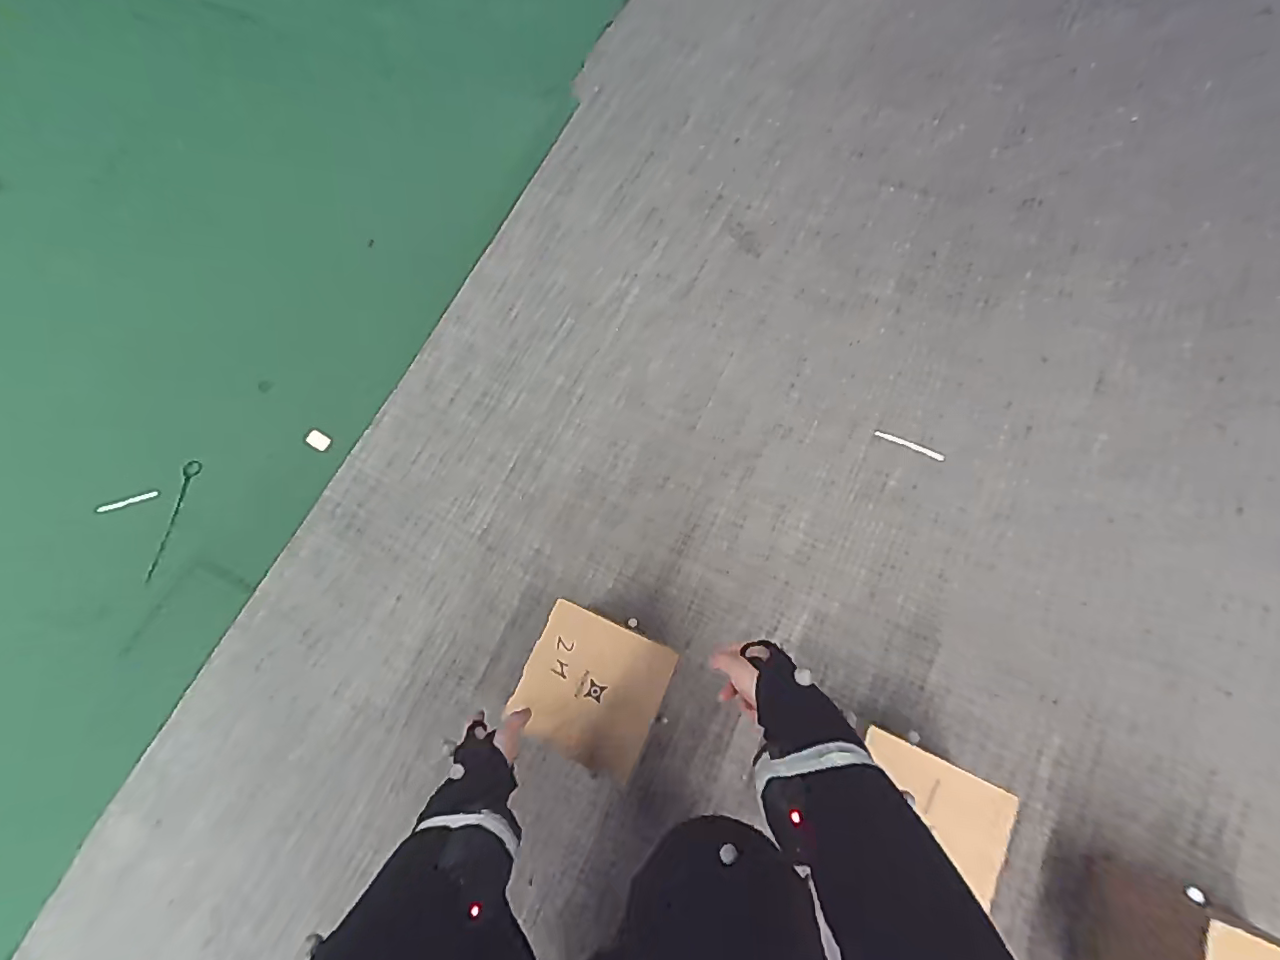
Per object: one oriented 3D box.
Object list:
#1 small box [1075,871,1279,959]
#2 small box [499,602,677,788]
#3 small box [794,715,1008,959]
[{"bbox_3d":[0.610,0.561,0.576,0.179,0.176,0.168,21,77,12],"label":"small box"},{"bbox_3d":[-0.057,0.283,0.747,0.179,0.176,0.168,23,76,13],"label":"small box"},{"bbox_3d":[0.300,0.413,0.661,0.168,0.176,0.179,23,76,13],"label":"small box"}]
